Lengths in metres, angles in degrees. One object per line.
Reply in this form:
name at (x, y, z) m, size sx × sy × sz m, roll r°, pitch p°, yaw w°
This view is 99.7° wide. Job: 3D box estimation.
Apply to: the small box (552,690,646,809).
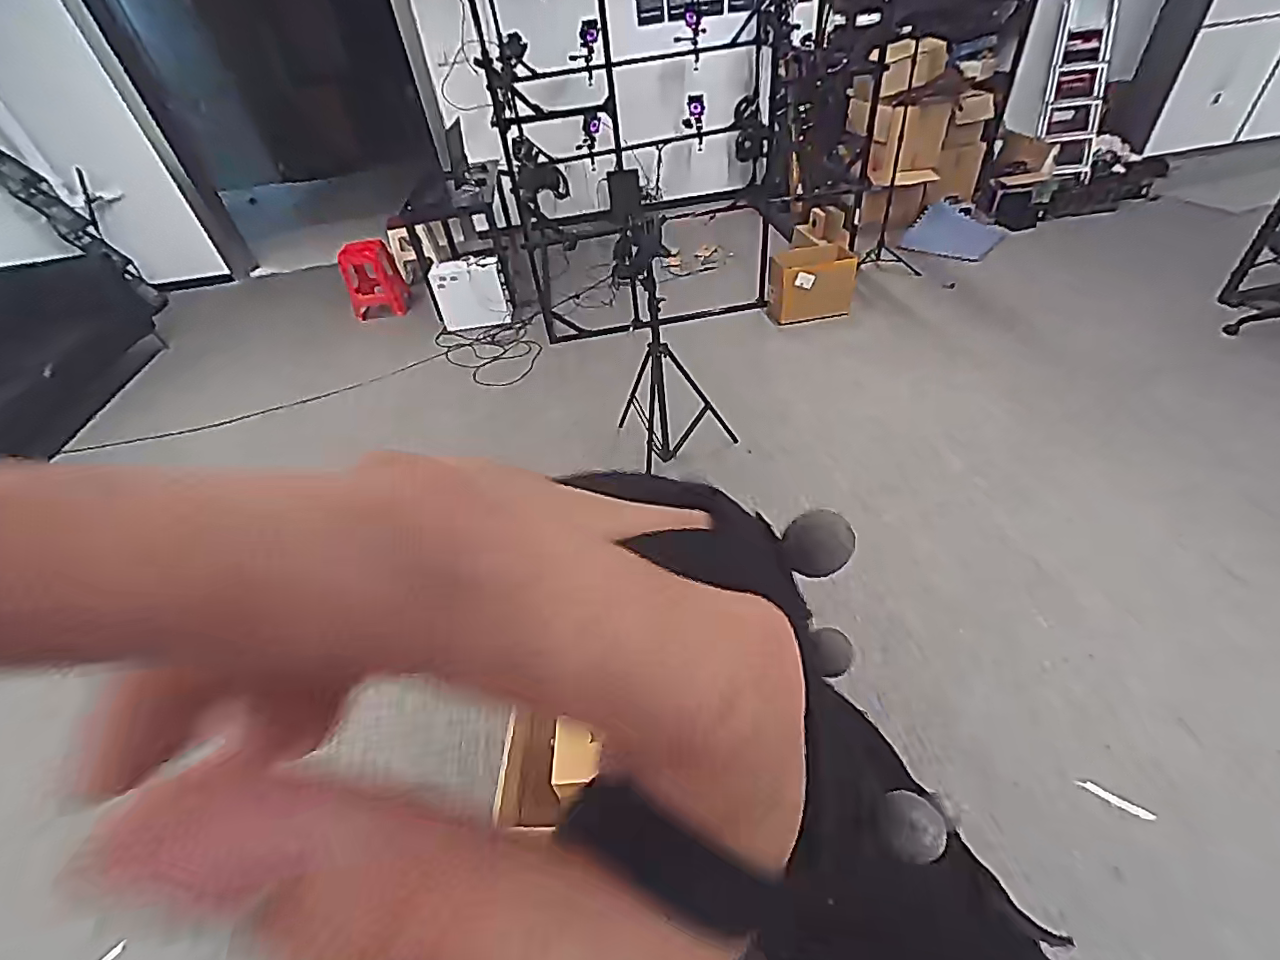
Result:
small box at (-0.077, 0.560, 1.115) m, size 0.168 × 0.176 × 0.179 m, roll -5°, pitch 41°, yaw 2°
